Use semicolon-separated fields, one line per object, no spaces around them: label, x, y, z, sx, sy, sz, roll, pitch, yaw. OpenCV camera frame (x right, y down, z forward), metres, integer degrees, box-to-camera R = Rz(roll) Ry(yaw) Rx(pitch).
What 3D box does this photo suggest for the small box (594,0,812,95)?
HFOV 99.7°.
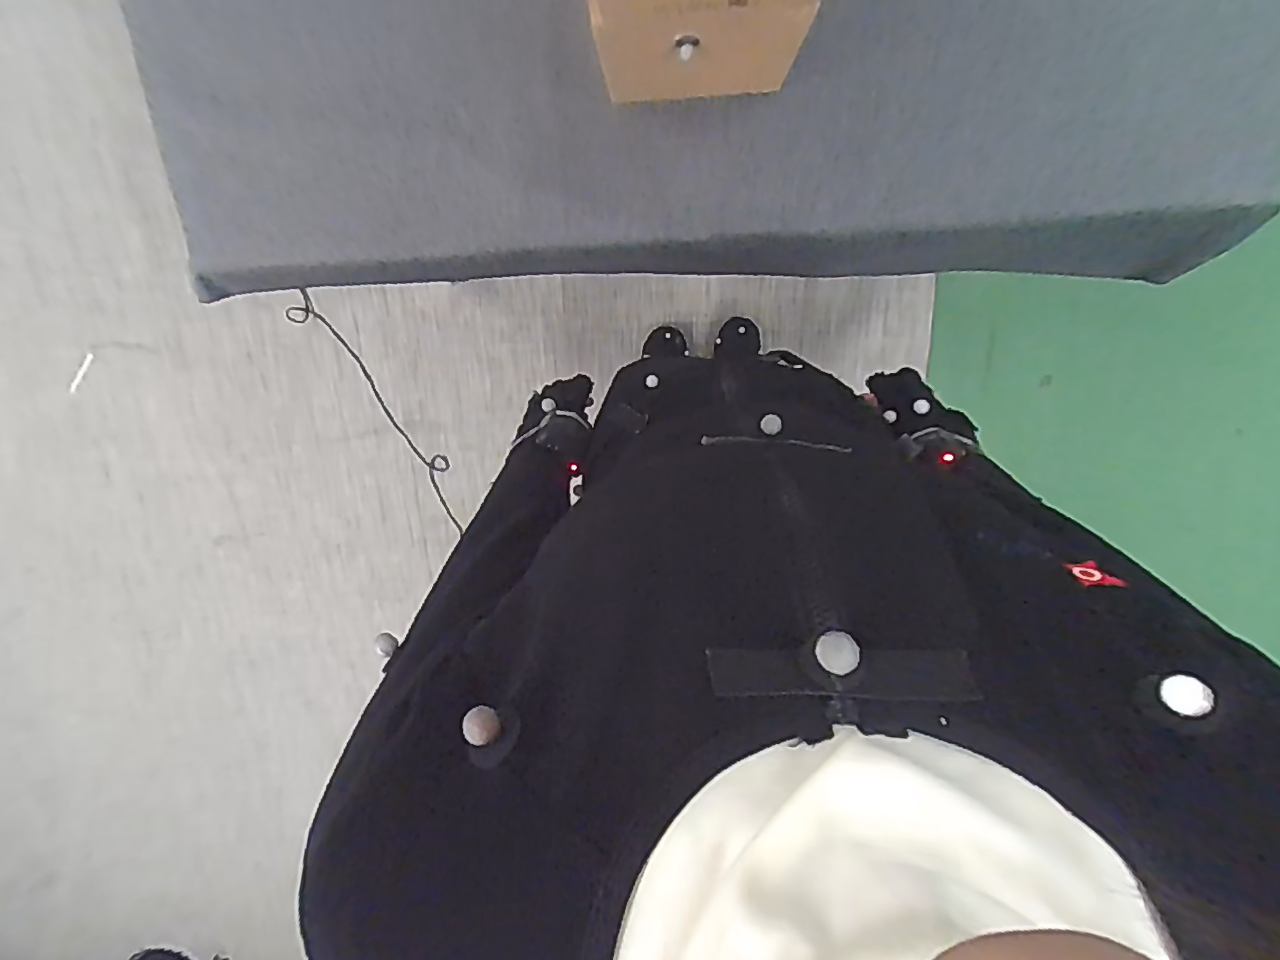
small box;0.054;-0.463;0.472;0.179;0.176;0.168;-1;107;4
